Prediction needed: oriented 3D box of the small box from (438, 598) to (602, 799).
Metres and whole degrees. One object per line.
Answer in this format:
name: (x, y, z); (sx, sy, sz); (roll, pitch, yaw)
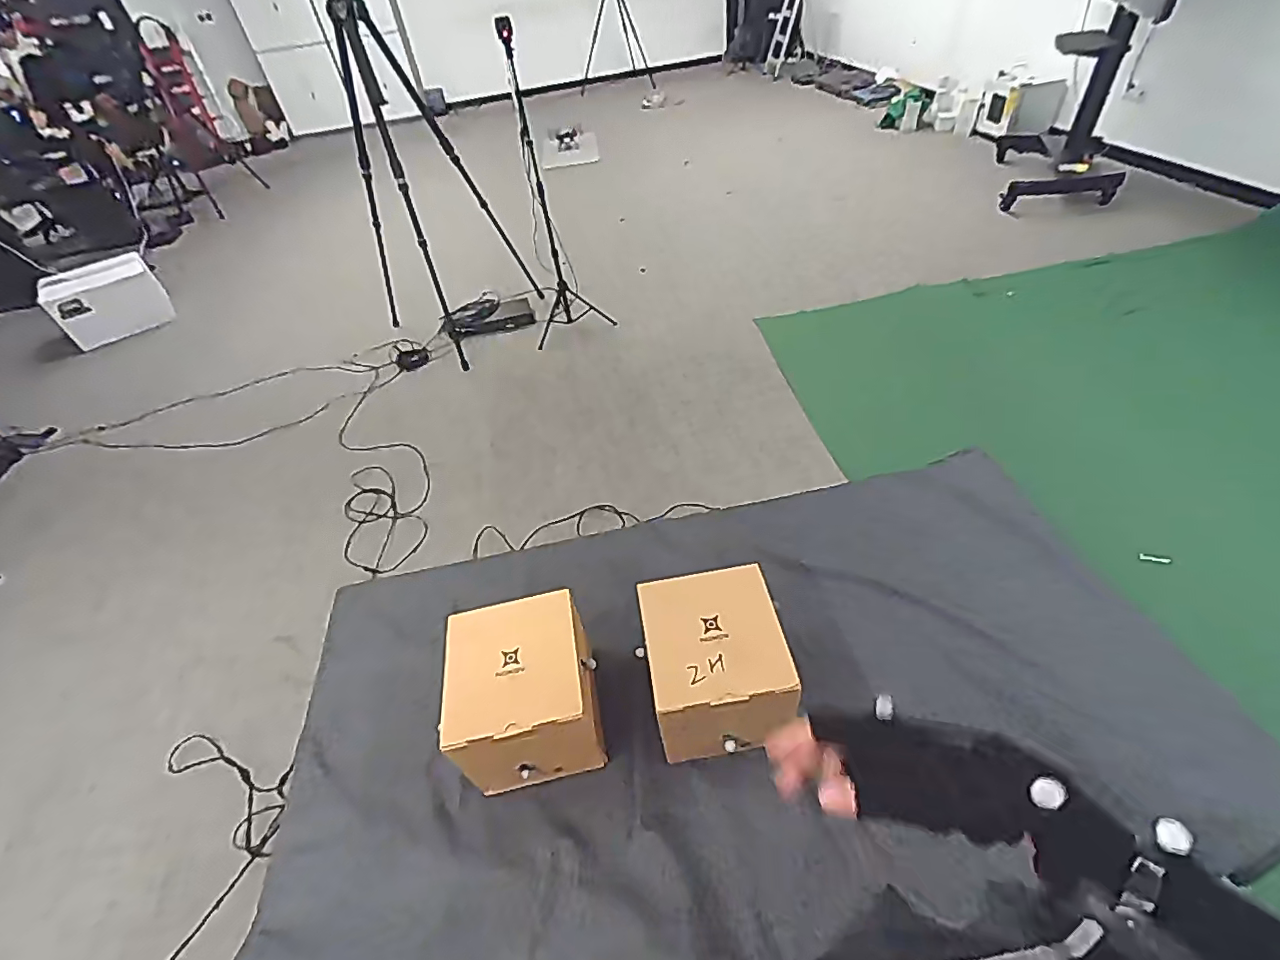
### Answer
small box: (-0.151, 0.288, 0.715); (0.168, 0.176, 0.179); (-12, 45, -4)

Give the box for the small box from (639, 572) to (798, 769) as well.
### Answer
small box: (0.094, 0.250, 0.711); (0.168, 0.176, 0.179); (-10, 44, 0)
